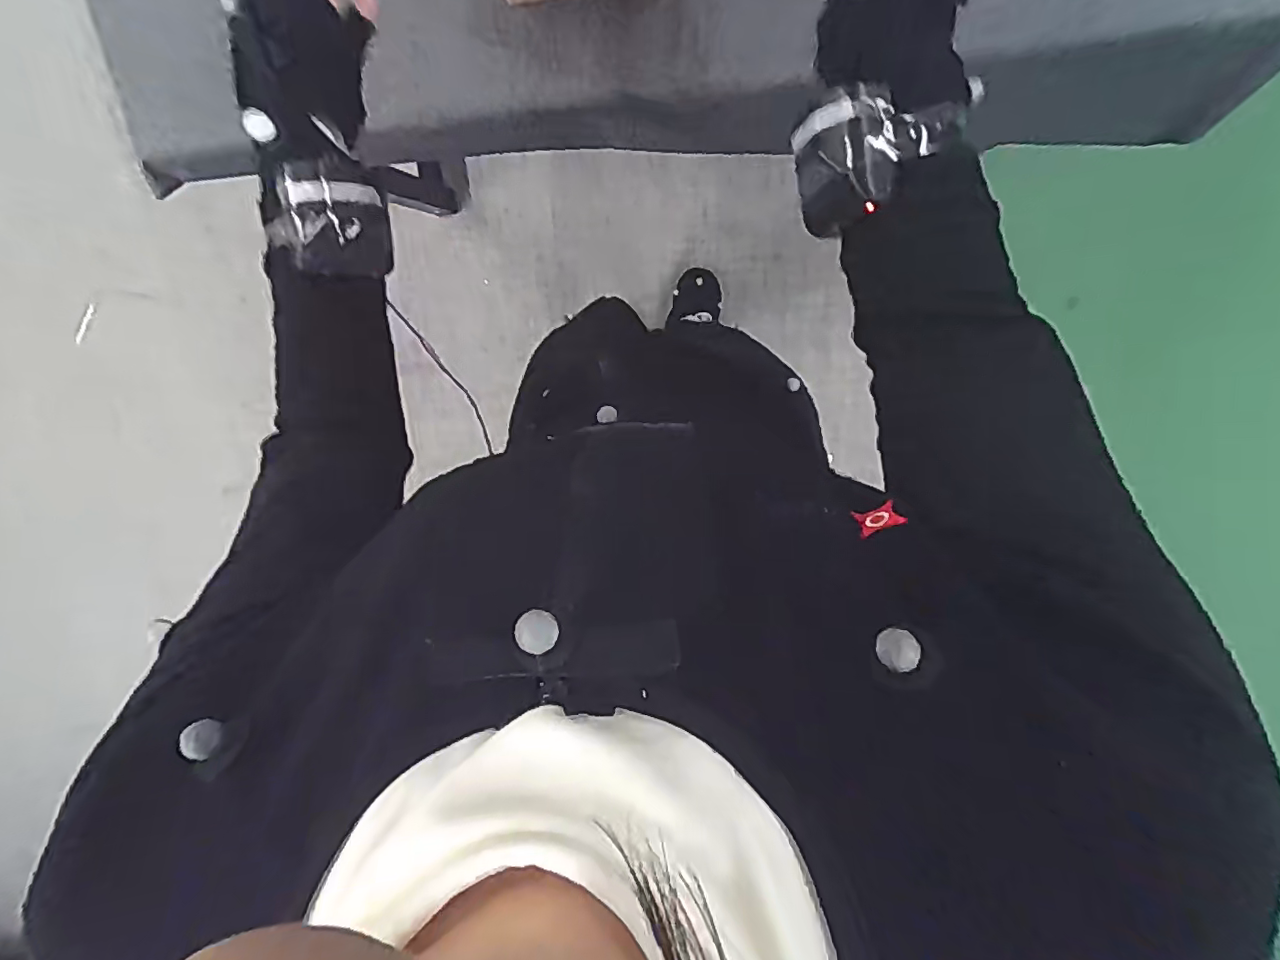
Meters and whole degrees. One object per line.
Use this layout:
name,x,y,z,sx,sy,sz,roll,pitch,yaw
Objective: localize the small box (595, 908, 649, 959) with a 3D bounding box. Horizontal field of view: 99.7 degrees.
small box,-0.063,1.730,2.004,0.179,0.176,0.168,-2,109,5
